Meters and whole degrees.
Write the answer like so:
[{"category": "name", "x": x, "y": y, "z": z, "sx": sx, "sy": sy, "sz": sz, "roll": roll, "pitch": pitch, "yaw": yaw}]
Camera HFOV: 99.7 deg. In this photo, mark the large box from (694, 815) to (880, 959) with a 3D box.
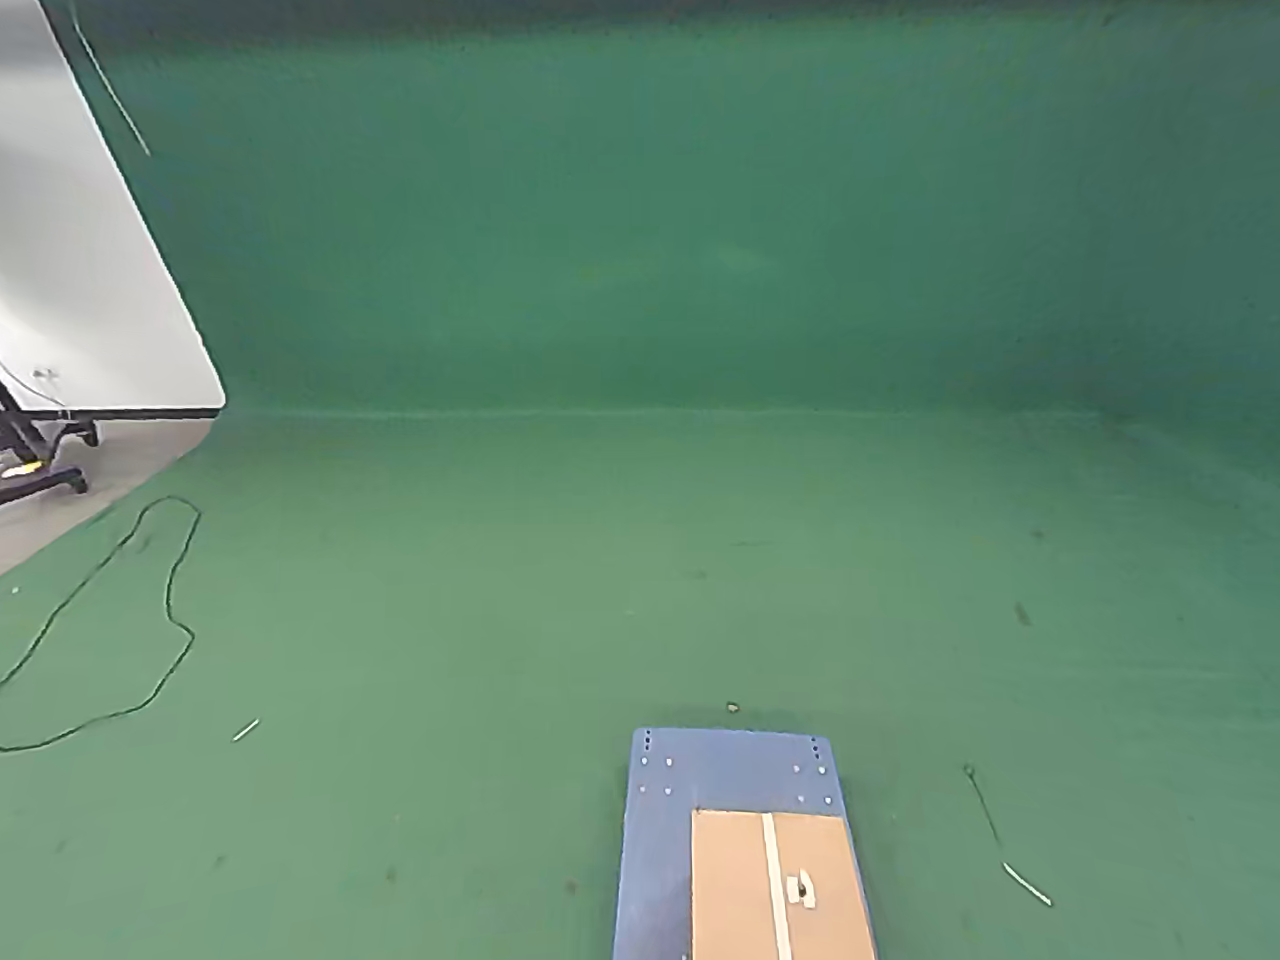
[{"category": "large box", "x": 0.261, "y": 0.925, "z": 1.019, "sx": 0.320, "sy": 0.320, "sz": 0.408, "roll": 1, "pitch": 32, "yaw": 4}]
